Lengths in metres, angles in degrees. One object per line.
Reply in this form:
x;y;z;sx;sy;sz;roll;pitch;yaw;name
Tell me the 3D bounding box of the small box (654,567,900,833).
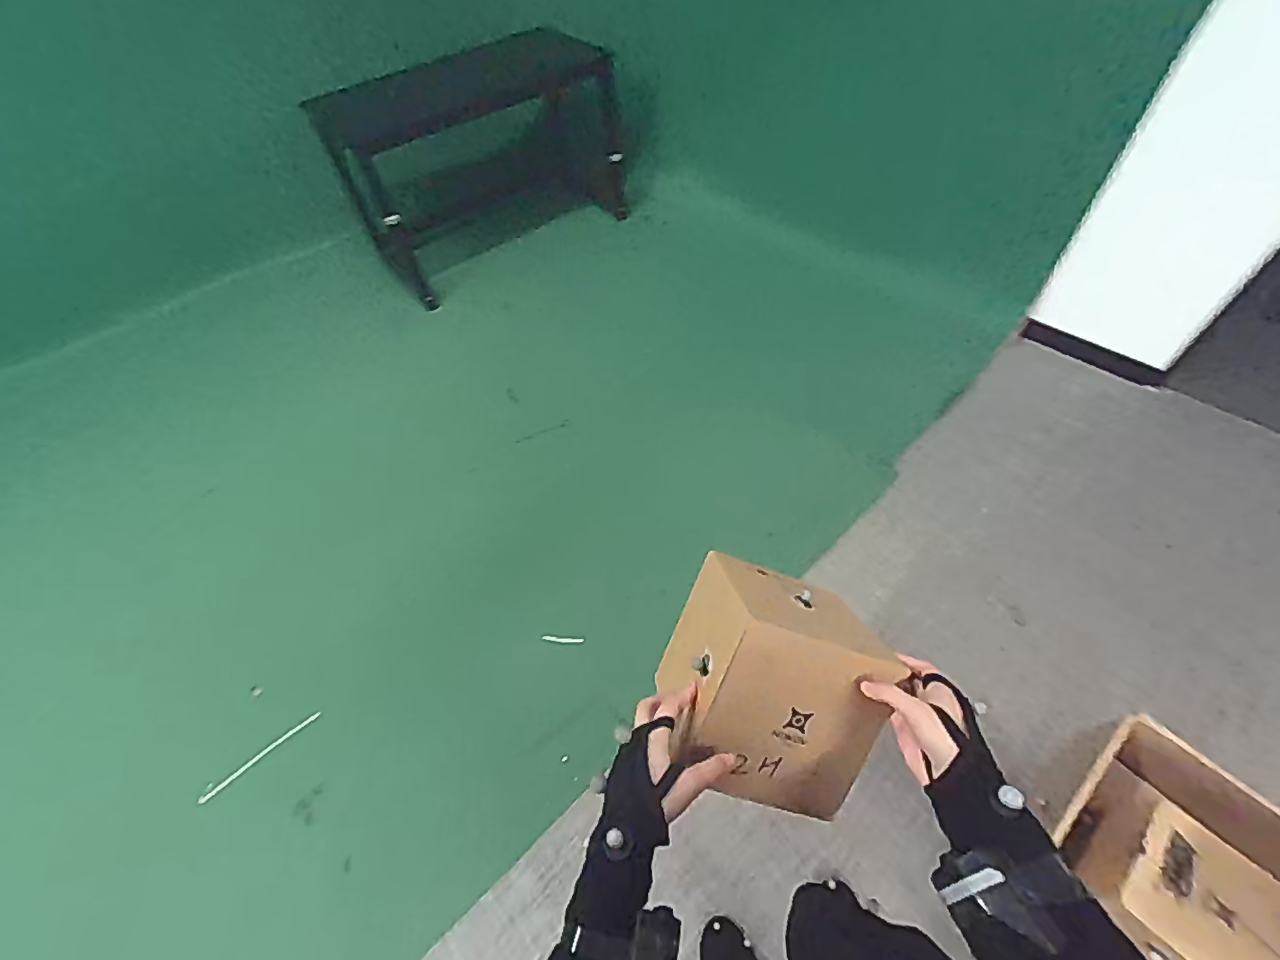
0.122;0.213;0.563;0.168;0.179;0.176;19;11;-9;small box
